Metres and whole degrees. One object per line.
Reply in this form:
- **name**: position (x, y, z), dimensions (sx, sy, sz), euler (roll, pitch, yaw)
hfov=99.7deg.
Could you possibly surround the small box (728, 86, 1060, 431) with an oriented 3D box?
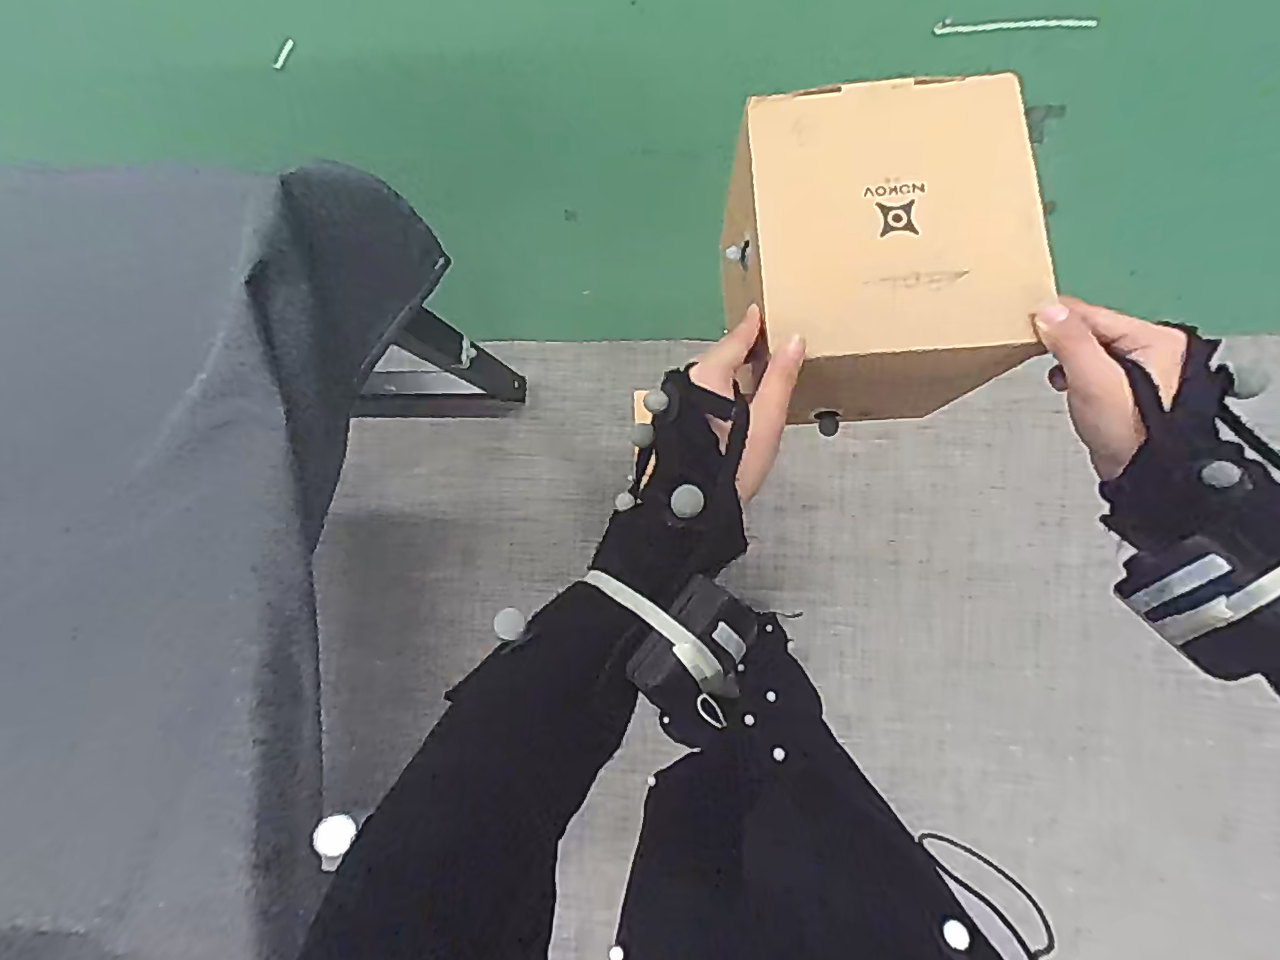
- **small box**: position (0.161, -0.144, 0.406), dimensions (0.168, 0.176, 0.179), euler (-4, 82, 3)

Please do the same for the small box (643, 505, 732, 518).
- **small box**: position (0.098, -0.016, 1.069), dimensions (0.168, 0.176, 0.179), euler (0, 87, 7)

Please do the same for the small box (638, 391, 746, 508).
- **small box**: position (0.084, -0.043, 0.906), dimensions (0.168, 0.176, 0.179), euler (-1, 87, 5)
